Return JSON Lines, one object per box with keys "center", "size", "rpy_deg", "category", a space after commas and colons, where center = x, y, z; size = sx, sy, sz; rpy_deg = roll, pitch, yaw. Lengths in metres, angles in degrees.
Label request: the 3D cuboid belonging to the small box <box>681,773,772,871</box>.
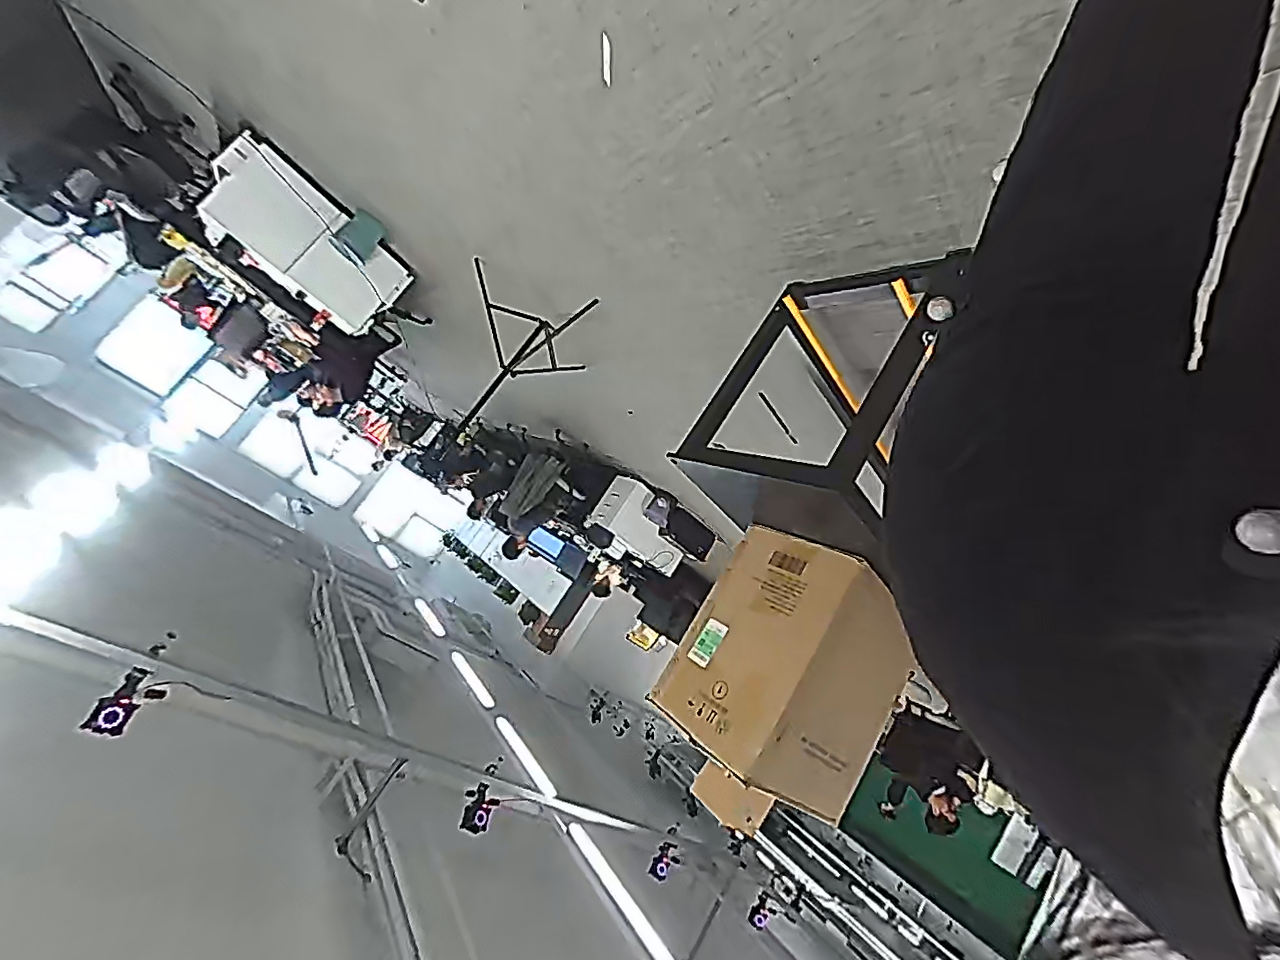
{"center": [0.263, 1.020, 1.621], "size": [0.179, 0.176, 0.168], "rpy_deg": [44, 165, -34], "category": "small box"}
